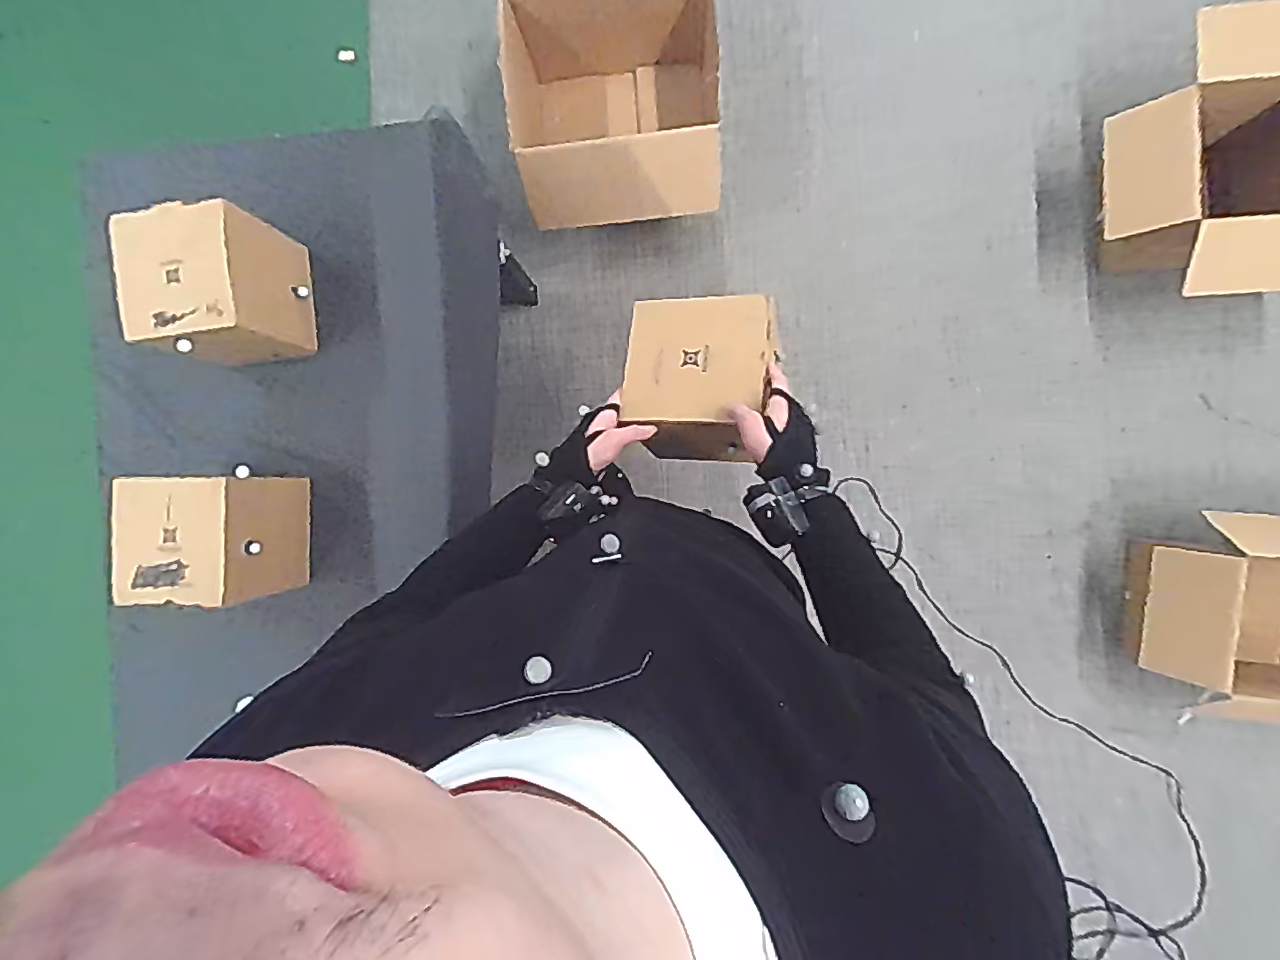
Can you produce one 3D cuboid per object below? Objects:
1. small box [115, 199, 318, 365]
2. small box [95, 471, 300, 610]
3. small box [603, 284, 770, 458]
[{"bbox_3d":[-0.623,-0.287,0.816,0.168,0.176,0.179,-8,90,2],"label":"small box"},{"bbox_3d":[-0.635,0.079,0.796,0.168,0.176,0.179,4,90,2],"label":"small box"},{"bbox_3d":[0.072,-0.131,0.705,0.179,0.176,0.168,2,75,20],"label":"small box"}]
